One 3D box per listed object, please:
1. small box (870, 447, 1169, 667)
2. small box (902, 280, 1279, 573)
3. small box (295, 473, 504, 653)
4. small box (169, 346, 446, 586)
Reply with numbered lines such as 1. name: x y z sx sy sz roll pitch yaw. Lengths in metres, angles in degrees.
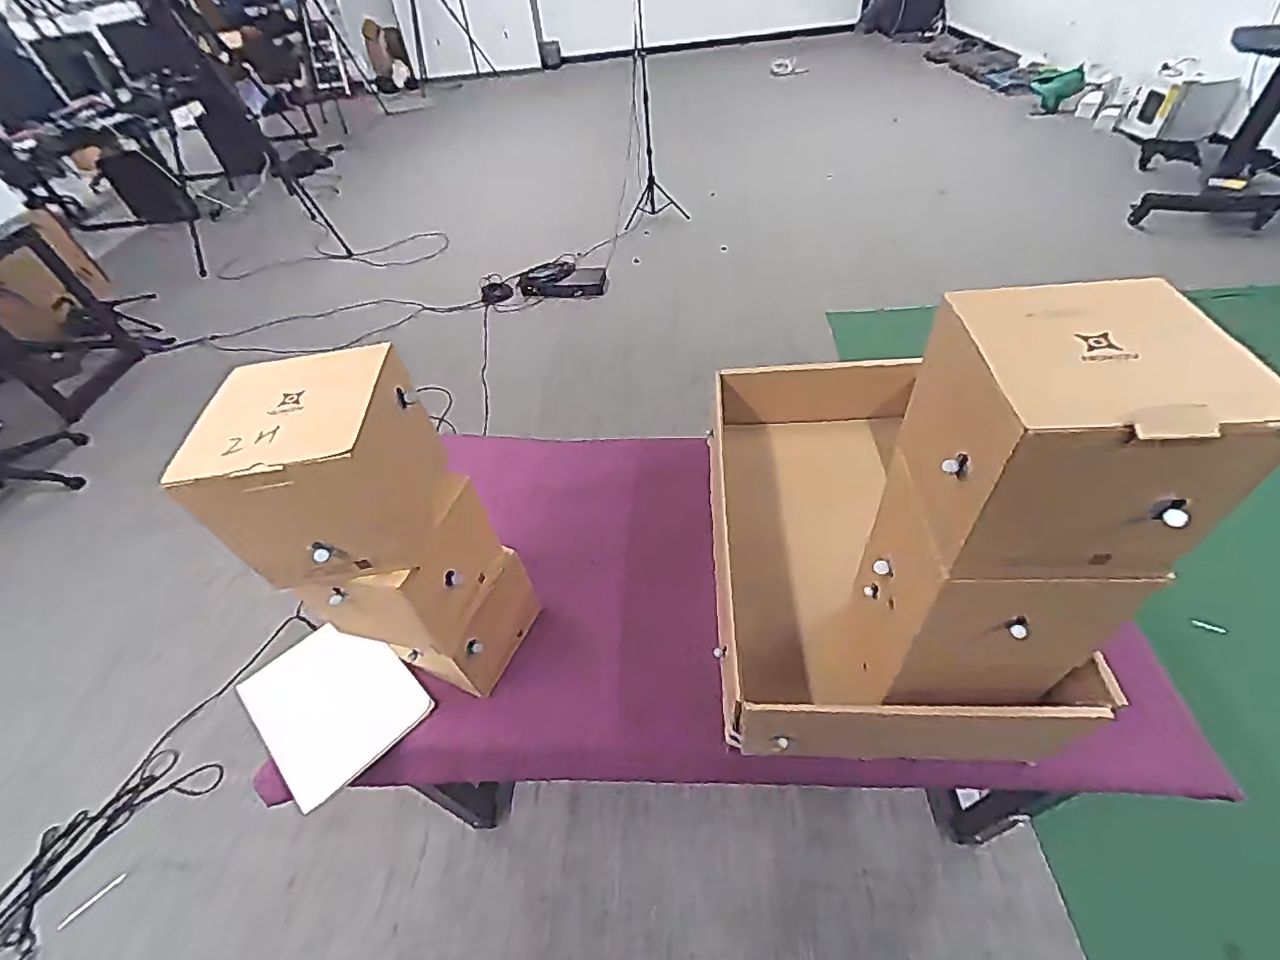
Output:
1. small box: 0.355 0.078 0.554 0.179 0.176 0.168 -2 46 9
2. small box: 0.334 -0.038 0.441 0.168 0.176 0.179 -1 46 8
3. small box: -0.298 0.100 0.688 0.179 0.176 0.168 7 48 14
4. small box: -0.319 -0.014 0.570 0.168 0.176 0.179 -9 47 0
